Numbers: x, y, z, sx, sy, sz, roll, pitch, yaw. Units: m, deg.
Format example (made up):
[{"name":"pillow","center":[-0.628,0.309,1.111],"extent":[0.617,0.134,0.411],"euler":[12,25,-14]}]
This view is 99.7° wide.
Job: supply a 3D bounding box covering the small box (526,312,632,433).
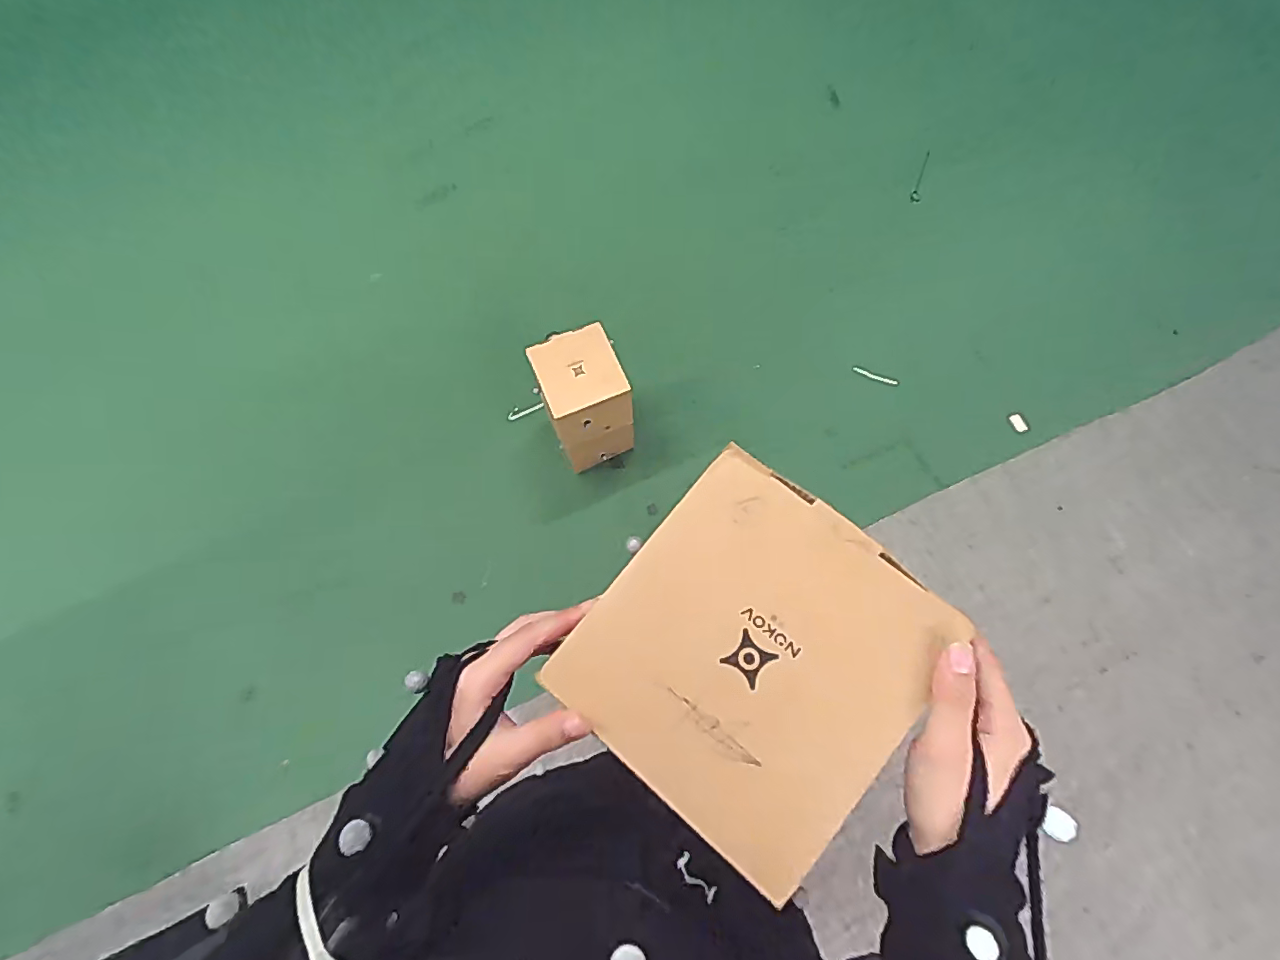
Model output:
[{"name":"small box","center":[-0.121,-0.217,1.152],"extent":[0.168,0.176,0.179],"euler":[-23,73,-6]}]
